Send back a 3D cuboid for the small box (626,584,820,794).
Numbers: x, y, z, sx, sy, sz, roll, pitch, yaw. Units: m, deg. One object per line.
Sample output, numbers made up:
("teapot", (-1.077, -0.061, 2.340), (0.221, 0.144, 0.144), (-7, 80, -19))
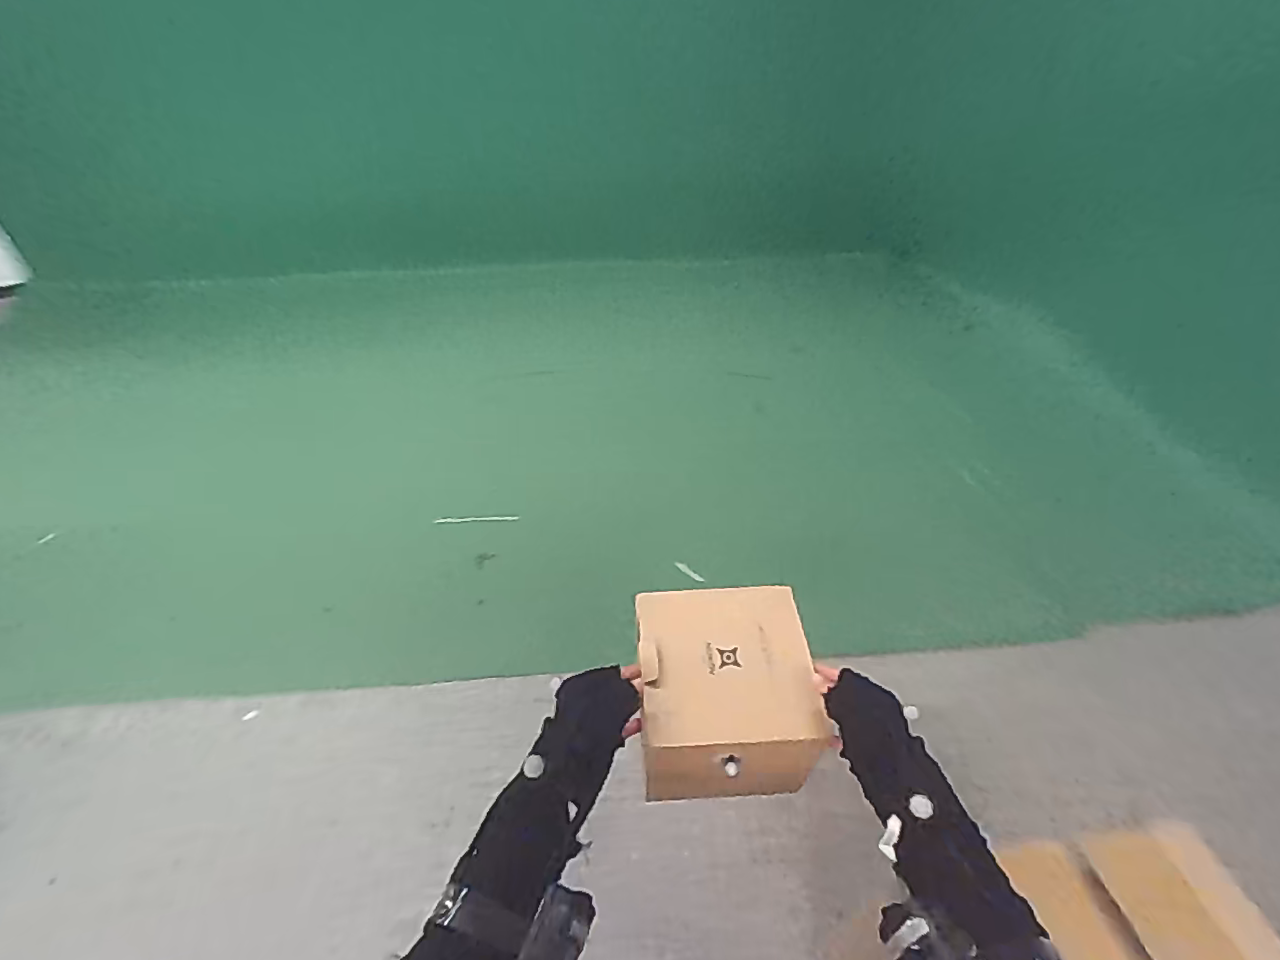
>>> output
("small box", (0.077, 0.236, 0.609), (0.179, 0.176, 0.168), (-2, 45, -4))
